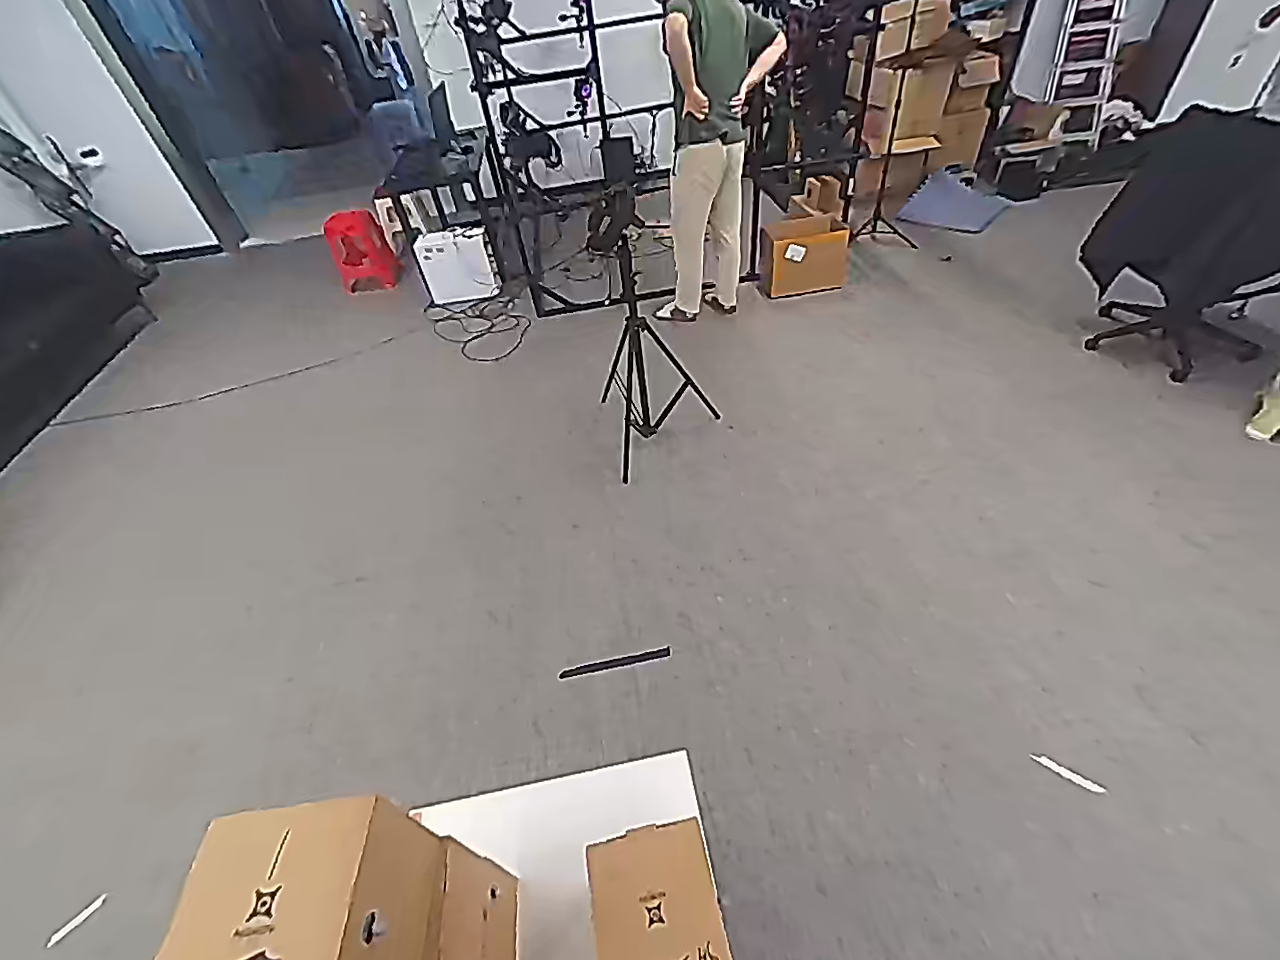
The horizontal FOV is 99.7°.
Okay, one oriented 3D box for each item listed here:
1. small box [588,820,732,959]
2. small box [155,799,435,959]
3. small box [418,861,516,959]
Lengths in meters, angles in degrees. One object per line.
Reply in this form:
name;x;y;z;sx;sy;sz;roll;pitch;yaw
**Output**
small box;0.030;0.614;0.755;0.168;0.176;0.179;-13;44;-3
small box;-0.317;0.436;0.519;0.168;0.176;0.179;-8;43;1
small box;-0.275;0.664;0.753;0.168;0.176;0.179;-10;44;-2
